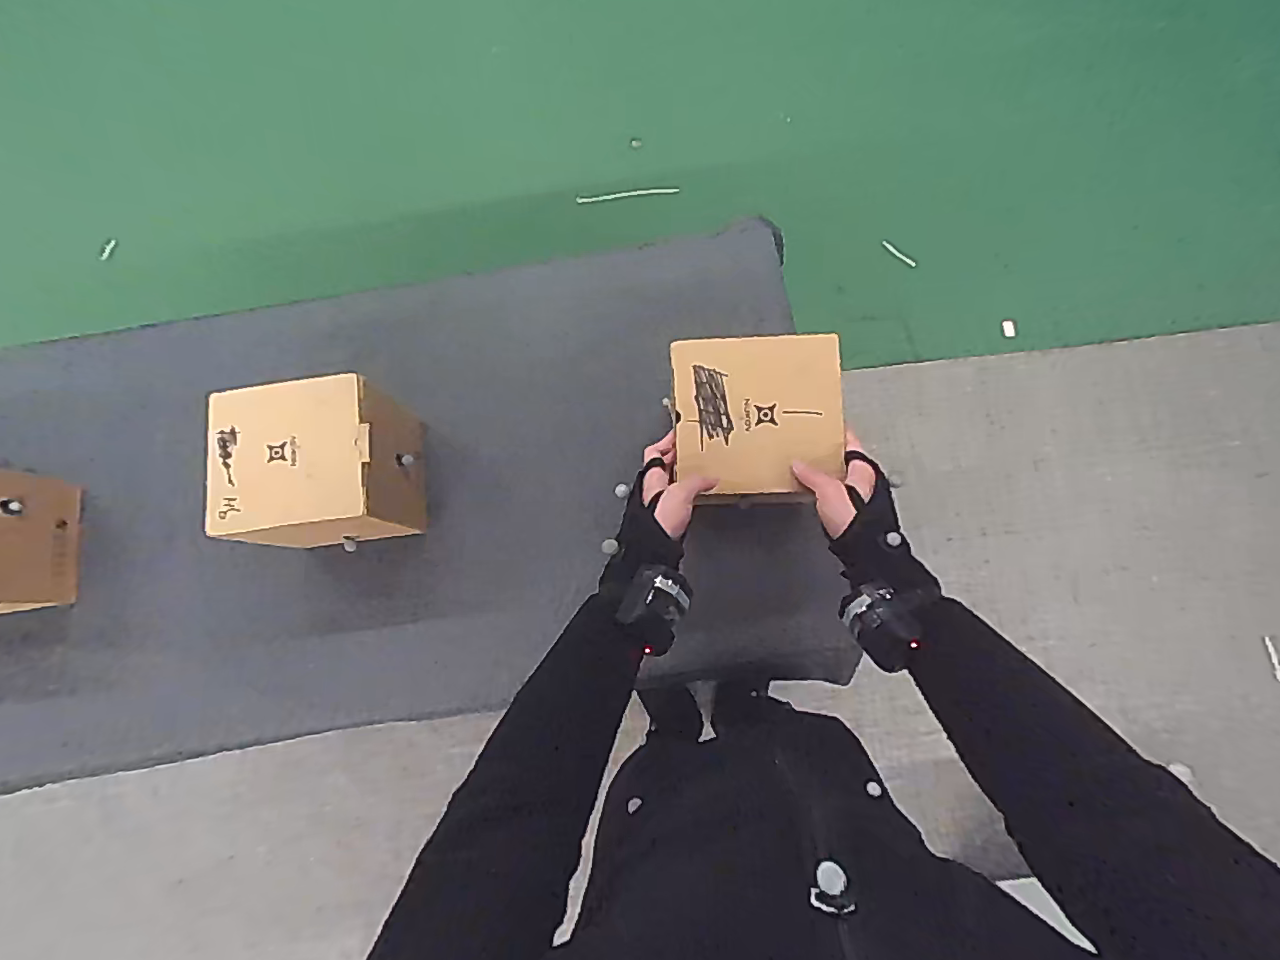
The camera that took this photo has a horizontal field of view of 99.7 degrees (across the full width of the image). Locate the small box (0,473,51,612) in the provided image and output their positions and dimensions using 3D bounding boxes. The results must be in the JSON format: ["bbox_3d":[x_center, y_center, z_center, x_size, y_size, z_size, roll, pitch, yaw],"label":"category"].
[{"bbox_3d":[-0.845,0.073,0.615,0.179,0.176,0.168,-9,76,-2],"label":"small box"}]

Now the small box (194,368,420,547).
[{"bbox_3d":[-0.373,-0.017,0.641,0.179,0.176,0.168,-6,77,-3],"label":"small box"}]

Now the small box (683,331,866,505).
[{"bbox_3d":[0.139,-0.060,0.626,0.179,0.176,0.168,-1,82,1],"label":"small box"}]
